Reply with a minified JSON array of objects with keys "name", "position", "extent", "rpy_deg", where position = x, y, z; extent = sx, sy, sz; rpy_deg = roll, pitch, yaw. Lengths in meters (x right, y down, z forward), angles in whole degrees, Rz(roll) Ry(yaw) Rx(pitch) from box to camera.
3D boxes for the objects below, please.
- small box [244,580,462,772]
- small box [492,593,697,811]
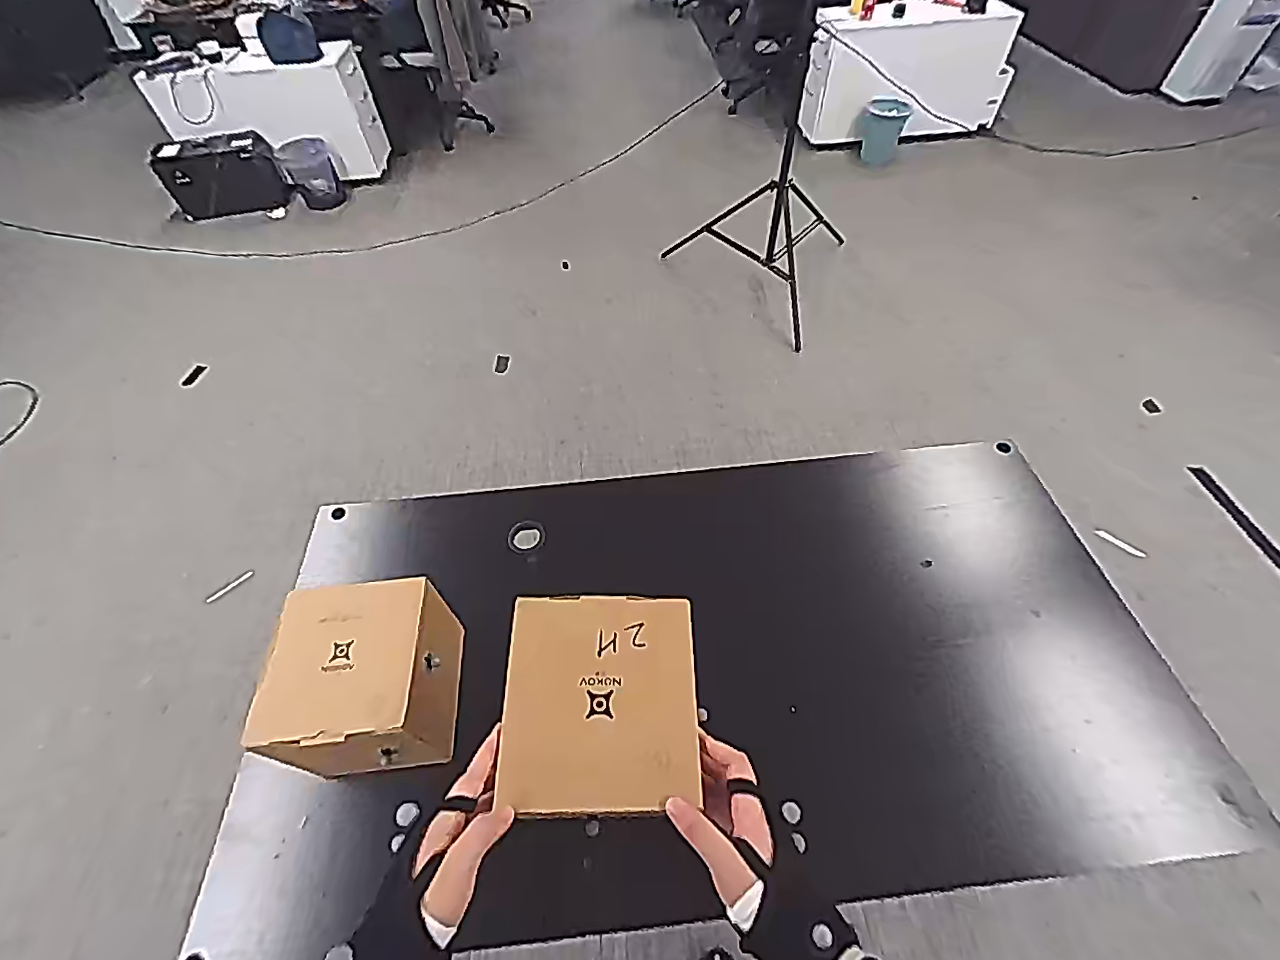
[{"name":"small box","position":[-0.326,0.244,0.660],"extent":[0.168,0.176,0.179],"rpy_deg":[-5,52,-3]},{"name":"small box","position":[-0.038,0.225,0.535],"extent":[0.168,0.176,0.179],"rpy_deg":[1,57,-3]}]
